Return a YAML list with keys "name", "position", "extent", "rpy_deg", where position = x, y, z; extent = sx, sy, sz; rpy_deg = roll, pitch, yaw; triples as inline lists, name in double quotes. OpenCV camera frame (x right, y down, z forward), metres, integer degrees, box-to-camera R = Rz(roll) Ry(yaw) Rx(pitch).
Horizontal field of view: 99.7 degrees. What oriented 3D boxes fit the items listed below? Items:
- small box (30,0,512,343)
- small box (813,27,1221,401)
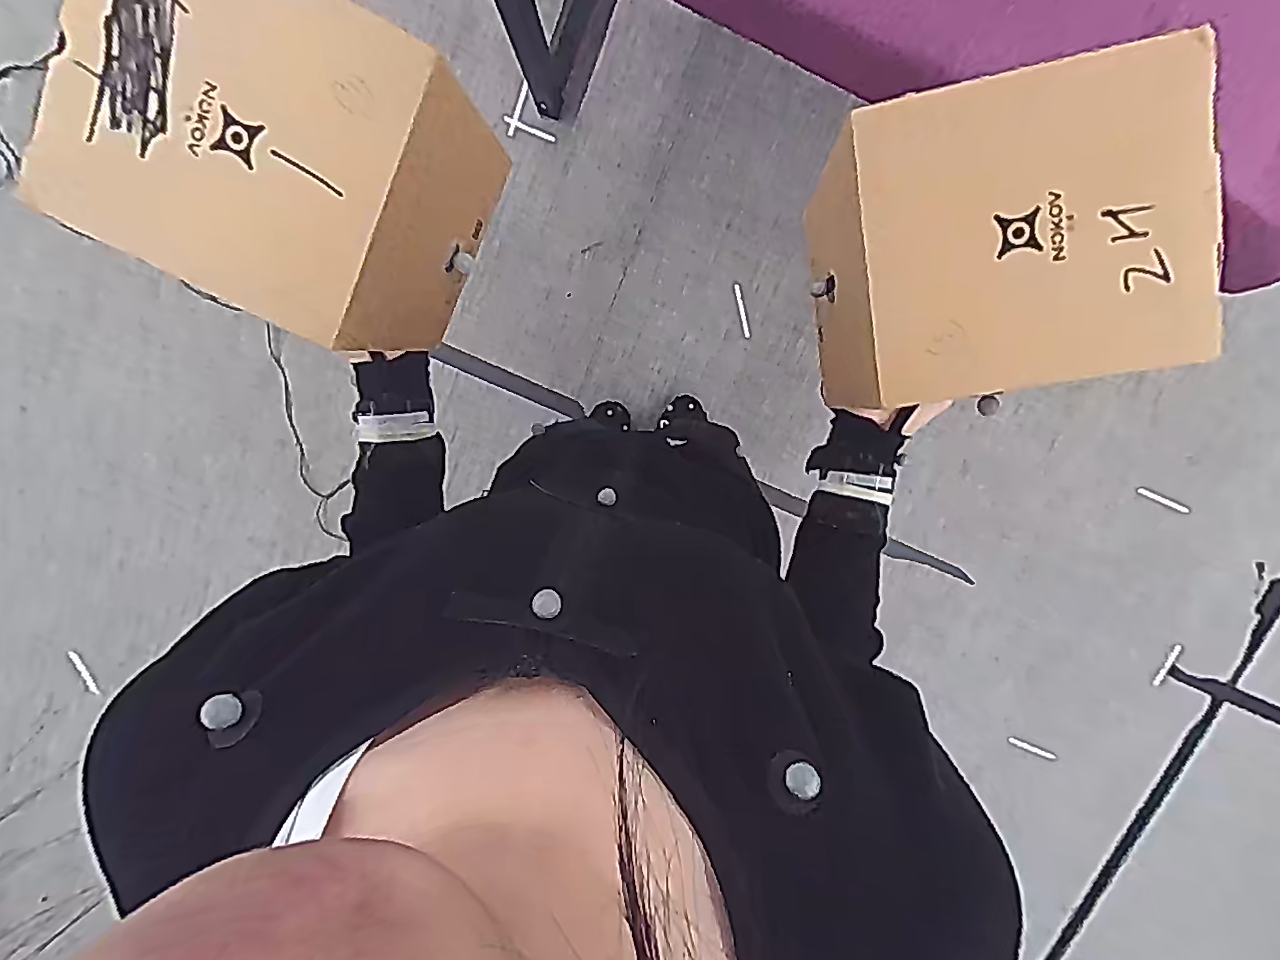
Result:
- name: "small box"
  position: [-0.208, -0.199, 0.354]
  extent: [0.179, 0.176, 0.168]
  rpy_deg: [26, 102, -7]
- name: "small box"
  position: [0.224, -0.147, 0.371]
  extent: [0.179, 0.176, 0.168]
  rpy_deg: [-8, 97, 9]
